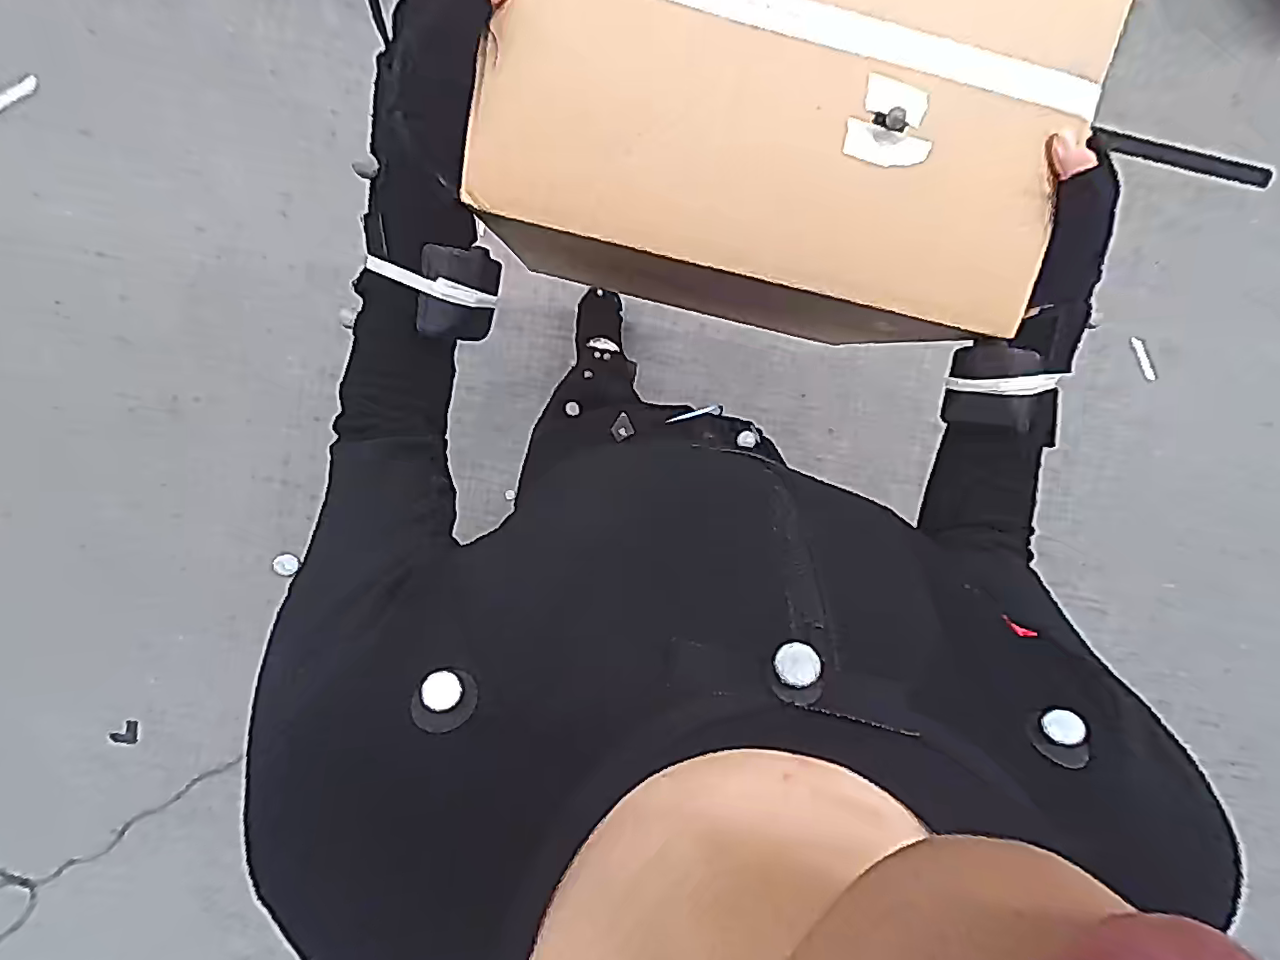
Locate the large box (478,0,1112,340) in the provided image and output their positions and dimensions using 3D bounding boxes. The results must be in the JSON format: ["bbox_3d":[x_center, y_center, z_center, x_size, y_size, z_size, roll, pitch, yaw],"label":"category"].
[{"bbox_3d":[0.098,-0.327,0.504,0.408,0.320,0.320,11,103,-7],"label":"large box"}]
